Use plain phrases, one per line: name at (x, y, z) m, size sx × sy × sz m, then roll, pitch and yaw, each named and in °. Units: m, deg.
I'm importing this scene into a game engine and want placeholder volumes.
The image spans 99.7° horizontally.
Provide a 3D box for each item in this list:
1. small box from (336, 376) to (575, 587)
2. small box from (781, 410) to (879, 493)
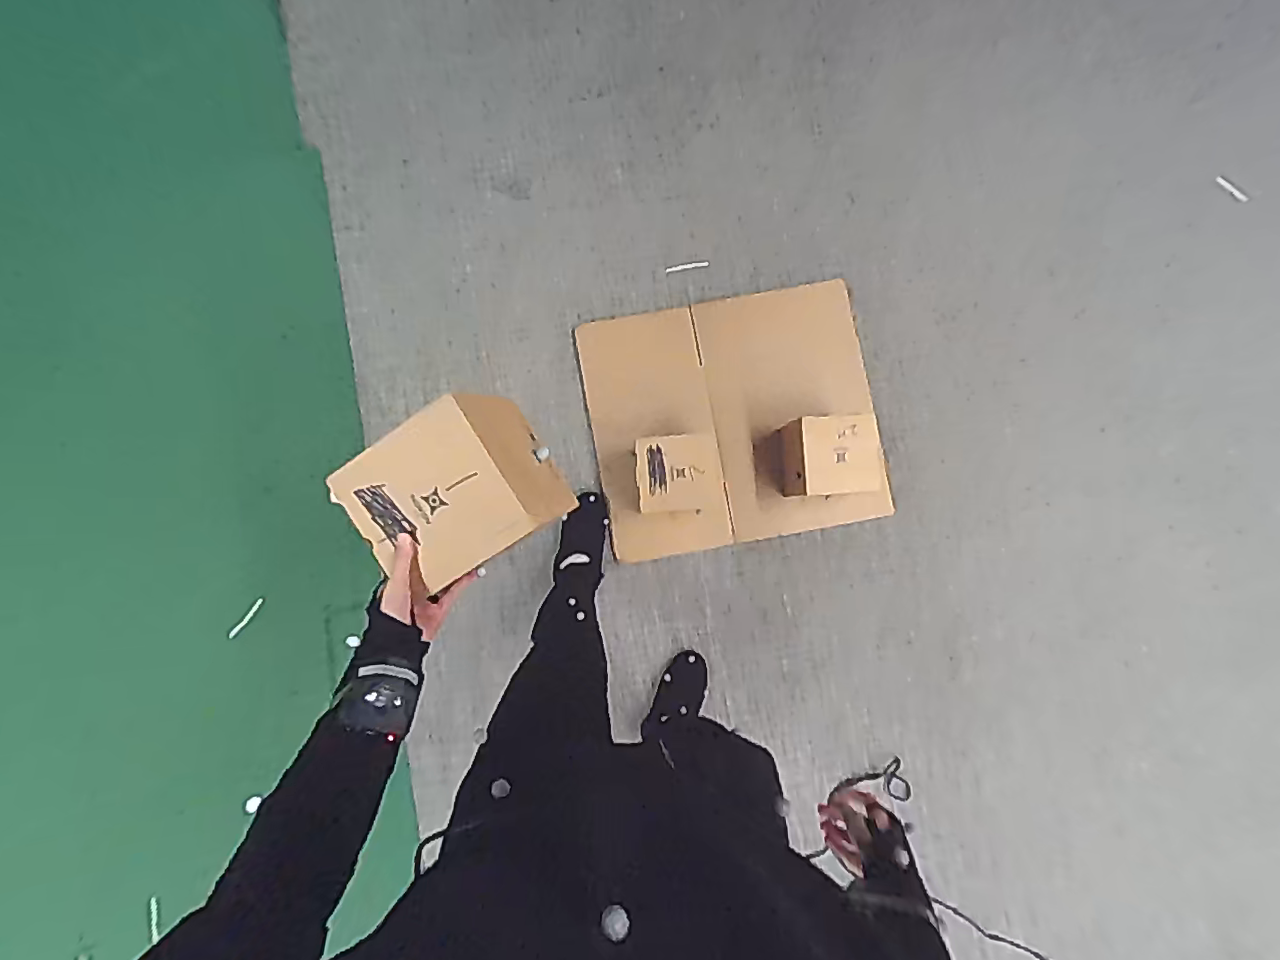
small box at (-0.203, -0.001, 0.644) m, size 0.179 × 0.176 × 0.168 m, roll -31°, pitch 90°, yaw 9°
small box at (0.431, -0.060, 1.247) m, size 0.168 × 0.176 × 0.179 m, roll -3°, pitch 86°, yaw -2°
